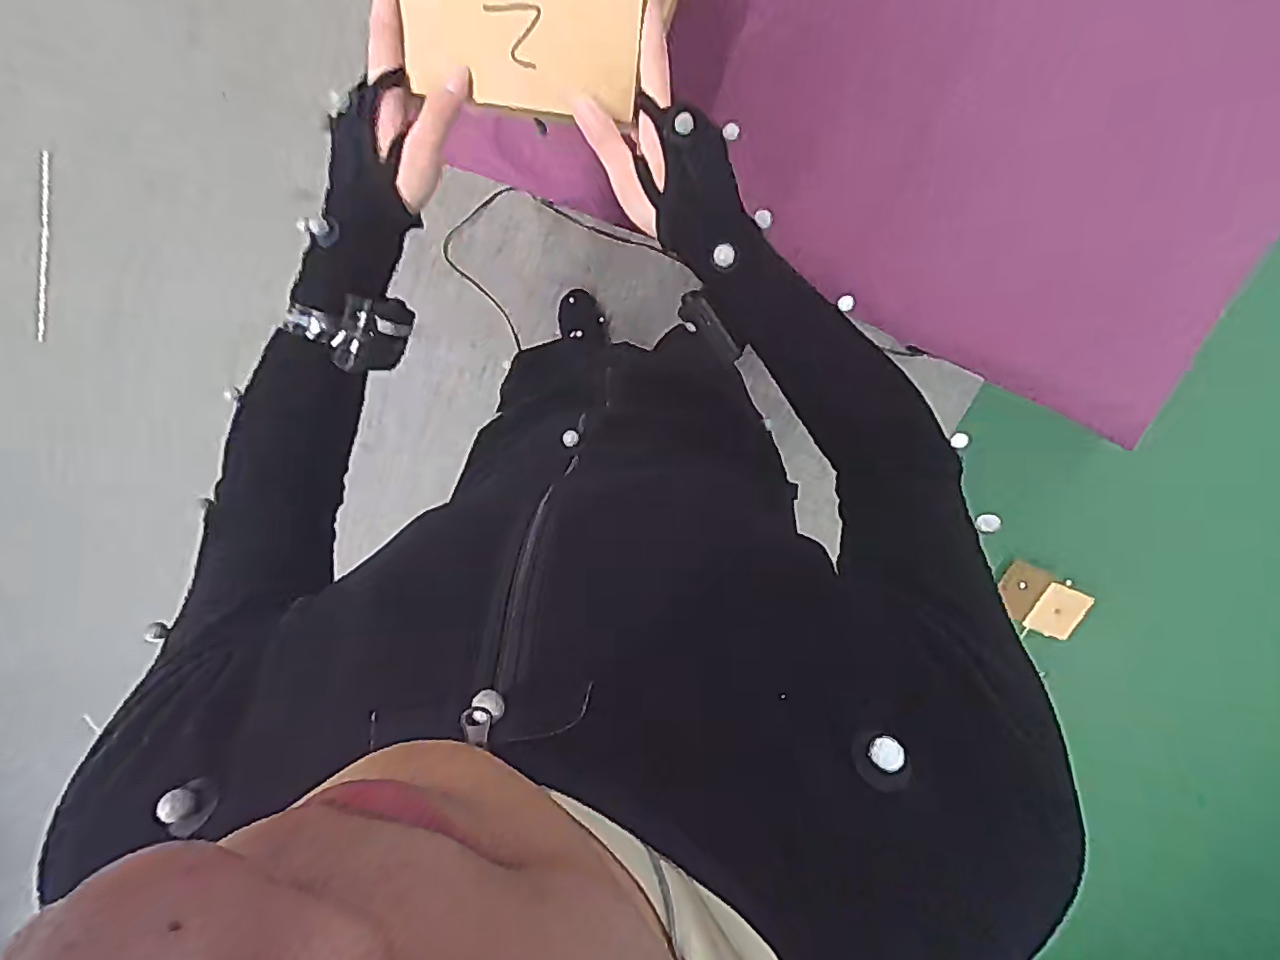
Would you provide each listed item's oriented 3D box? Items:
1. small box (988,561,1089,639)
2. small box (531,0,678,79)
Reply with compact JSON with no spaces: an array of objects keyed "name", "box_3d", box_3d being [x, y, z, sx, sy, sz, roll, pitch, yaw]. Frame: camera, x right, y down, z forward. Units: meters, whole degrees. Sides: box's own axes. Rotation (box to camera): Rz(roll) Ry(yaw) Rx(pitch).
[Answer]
[{"name":"small box","box_3d":[1.312,0.391,1.795,0.179,0.176,0.168,20,106,-11]},{"name":"small box","box_3d":[-0.028,-0.599,0.601,0.168,0.176,0.179,17,108,-9]}]
